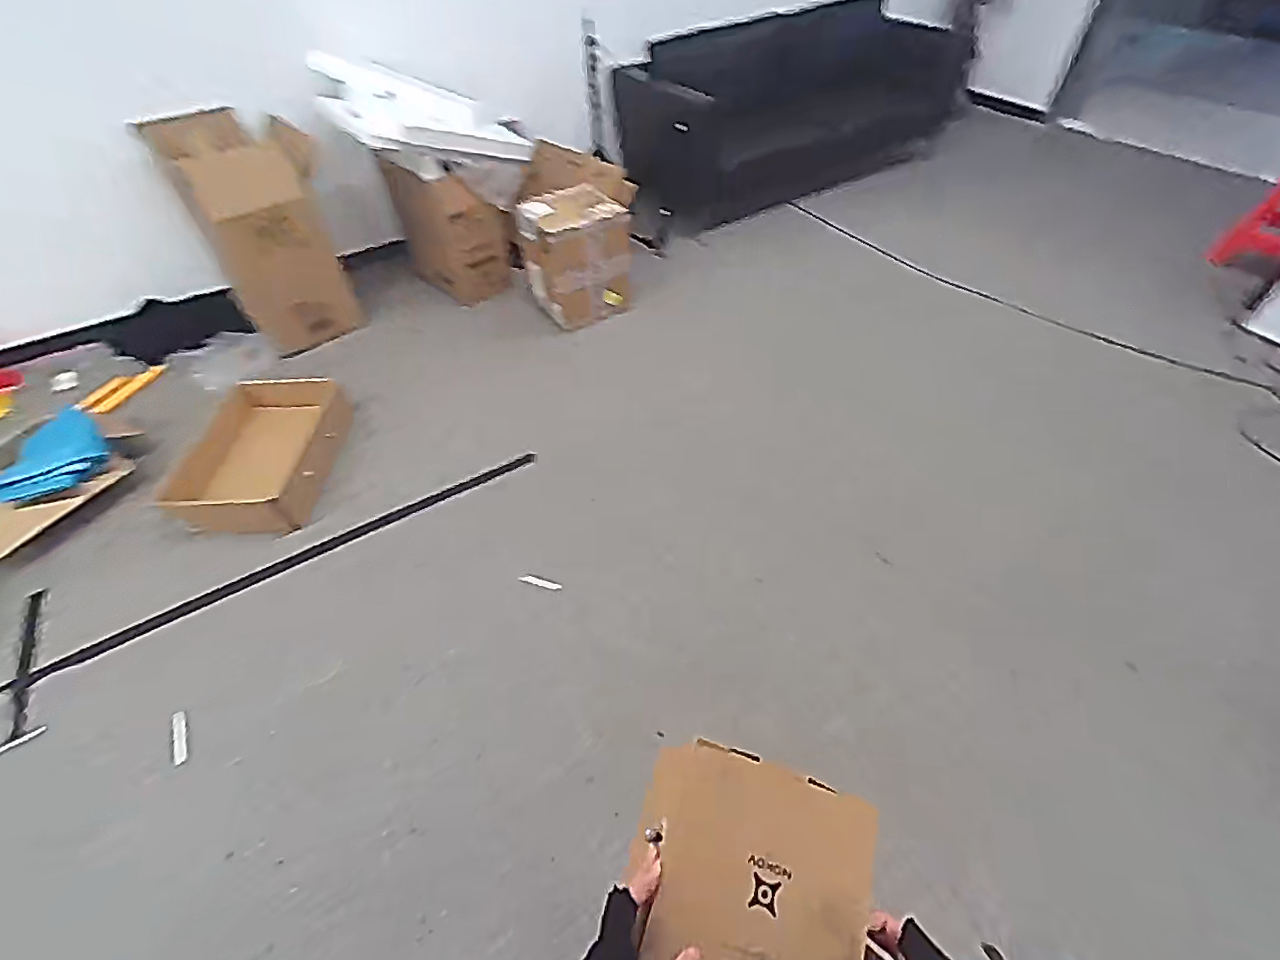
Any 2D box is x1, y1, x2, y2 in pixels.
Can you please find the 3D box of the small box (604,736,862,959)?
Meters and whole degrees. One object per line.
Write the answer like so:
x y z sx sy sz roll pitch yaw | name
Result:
0.074 0.357 0.481 0.168 0.176 0.179 20 56 2 | small box
